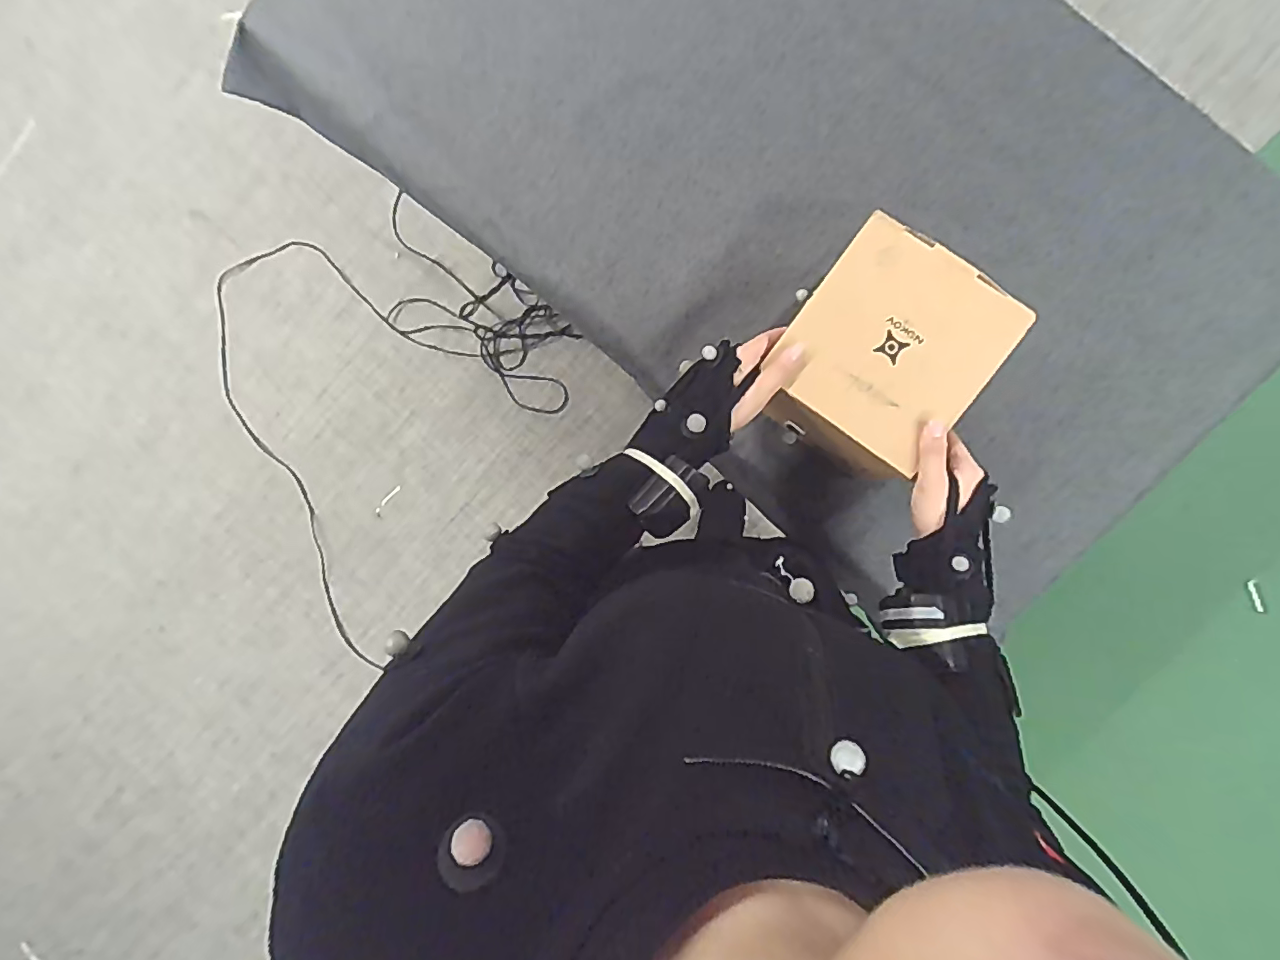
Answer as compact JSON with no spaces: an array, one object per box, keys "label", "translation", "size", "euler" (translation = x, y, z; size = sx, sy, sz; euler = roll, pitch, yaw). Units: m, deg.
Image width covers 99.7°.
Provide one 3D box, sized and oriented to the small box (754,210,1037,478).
[{"label":"small box","translation":[0.229,-0.119,0.545],"size":[0.168,0.176,0.179],"euler":[36,95,5]}]
